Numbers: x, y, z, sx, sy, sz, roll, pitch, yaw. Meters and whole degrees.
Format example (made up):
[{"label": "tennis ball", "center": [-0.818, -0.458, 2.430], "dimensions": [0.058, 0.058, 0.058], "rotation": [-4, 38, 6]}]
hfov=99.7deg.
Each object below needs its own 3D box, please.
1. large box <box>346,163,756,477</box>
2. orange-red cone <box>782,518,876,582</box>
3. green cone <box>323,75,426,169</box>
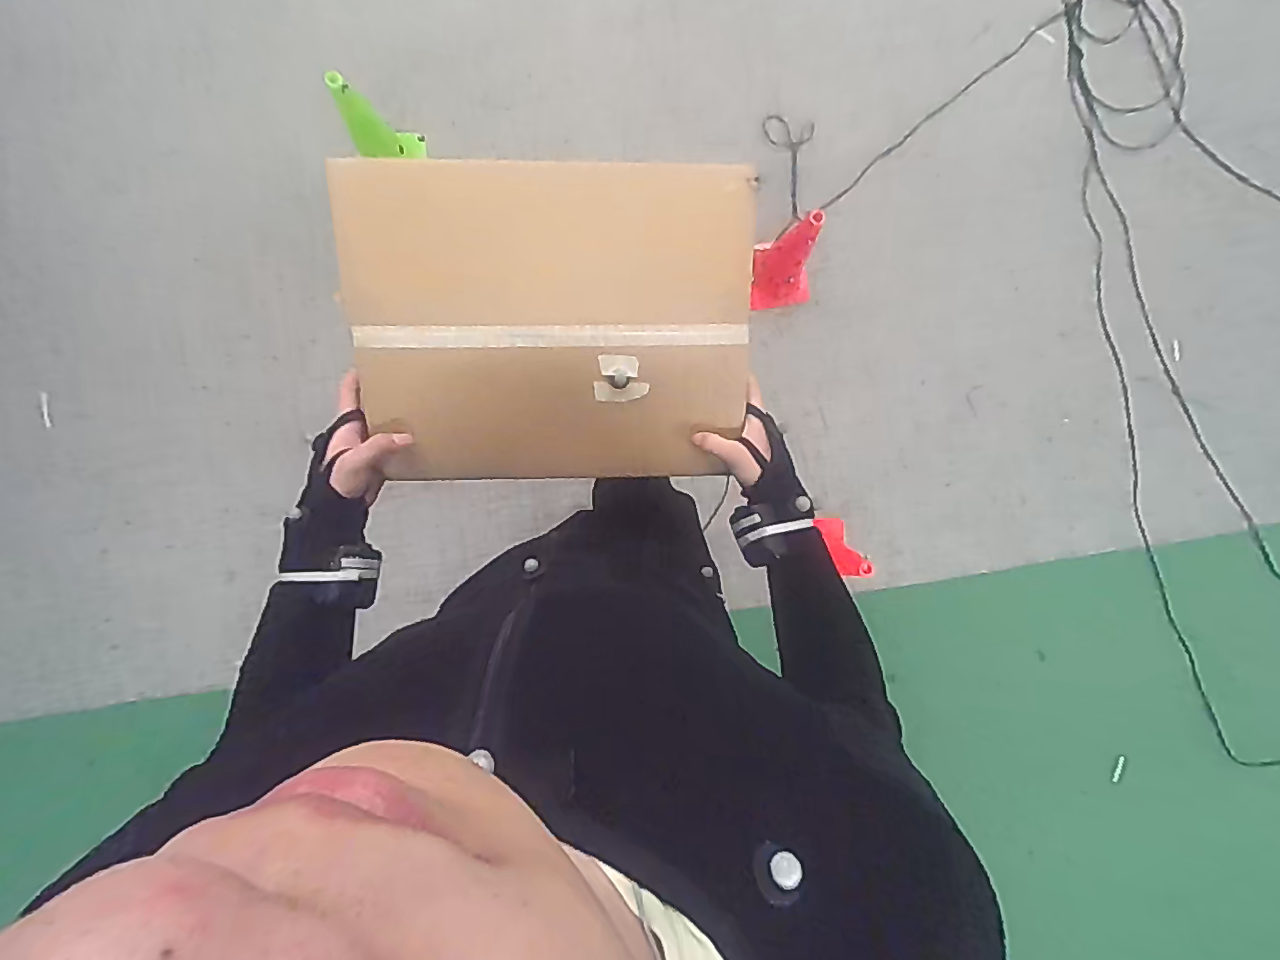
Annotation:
[{"label": "large box", "center": [-0.092, -0.203, 0.709], "dimensions": [0.408, 0.320, 0.320], "rotation": [-2, 109, -4]}, {"label": "orange-red cone", "center": [0.551, 0.218, 1.499], "dimensions": [0.199, 0.360, 0.198], "rotation": [-1, 91, -5]}, {"label": "green cone", "center": [-0.731, -0.932, 1.436], "dimensions": [0.200, 0.368, 0.202], "rotation": [-2, 91, -3]}]
